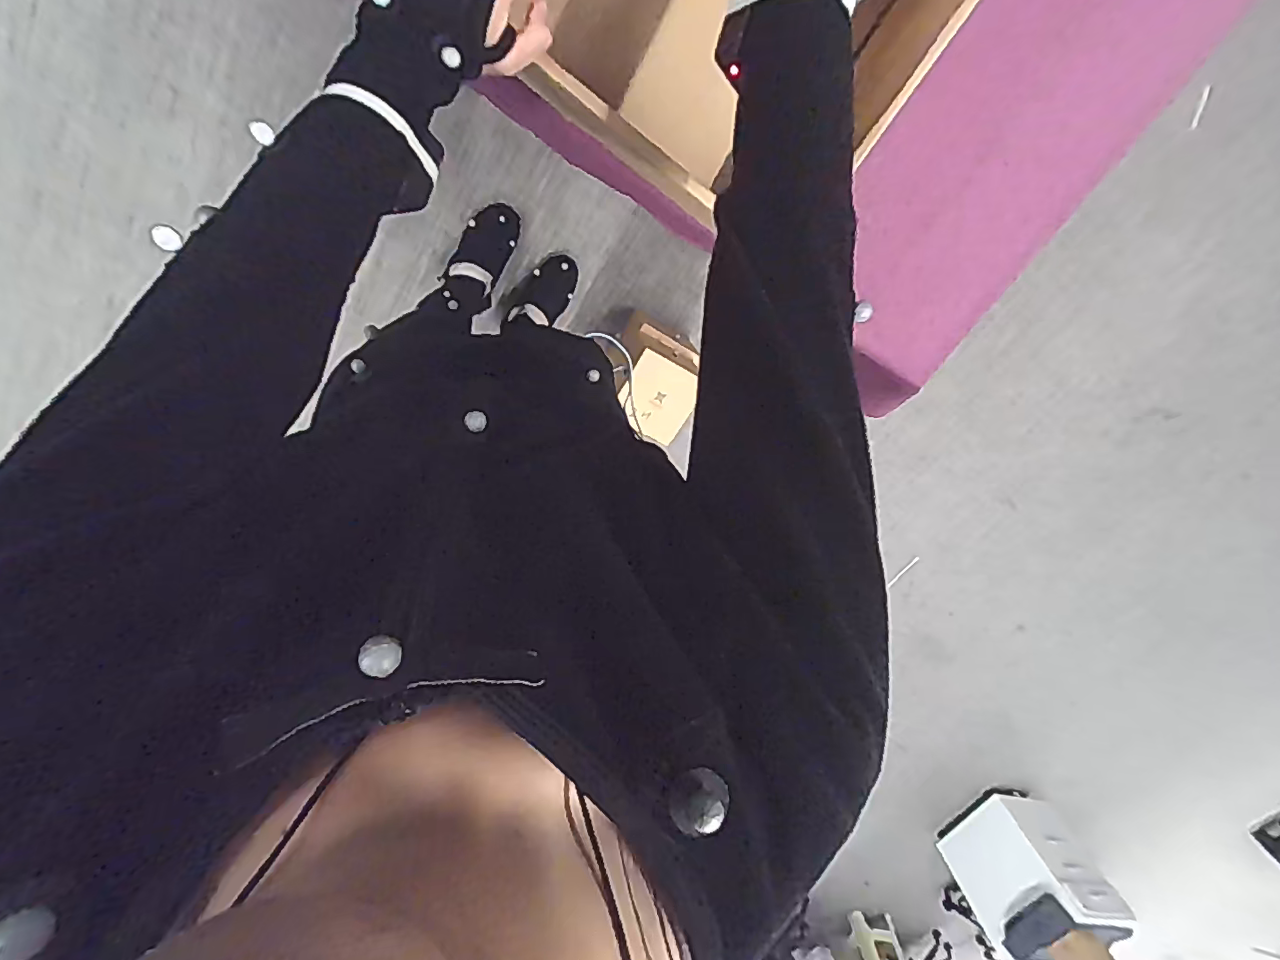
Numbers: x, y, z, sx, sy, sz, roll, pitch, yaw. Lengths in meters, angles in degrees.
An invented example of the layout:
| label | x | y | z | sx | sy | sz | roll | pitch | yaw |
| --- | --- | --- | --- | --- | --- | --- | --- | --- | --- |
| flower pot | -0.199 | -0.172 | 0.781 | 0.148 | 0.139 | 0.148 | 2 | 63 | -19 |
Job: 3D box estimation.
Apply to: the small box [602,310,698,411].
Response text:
| label | x | y | z | sx | sy | sz | roll | pitch | yaw |
| --- | --- | --- | --- | --- | --- | --- | --- | --- | --- |
| small box | 0.018 | -0.312 | 1.384 | 0.179 | 0.176 | 0.168 | 26 | 113 | -21 |
